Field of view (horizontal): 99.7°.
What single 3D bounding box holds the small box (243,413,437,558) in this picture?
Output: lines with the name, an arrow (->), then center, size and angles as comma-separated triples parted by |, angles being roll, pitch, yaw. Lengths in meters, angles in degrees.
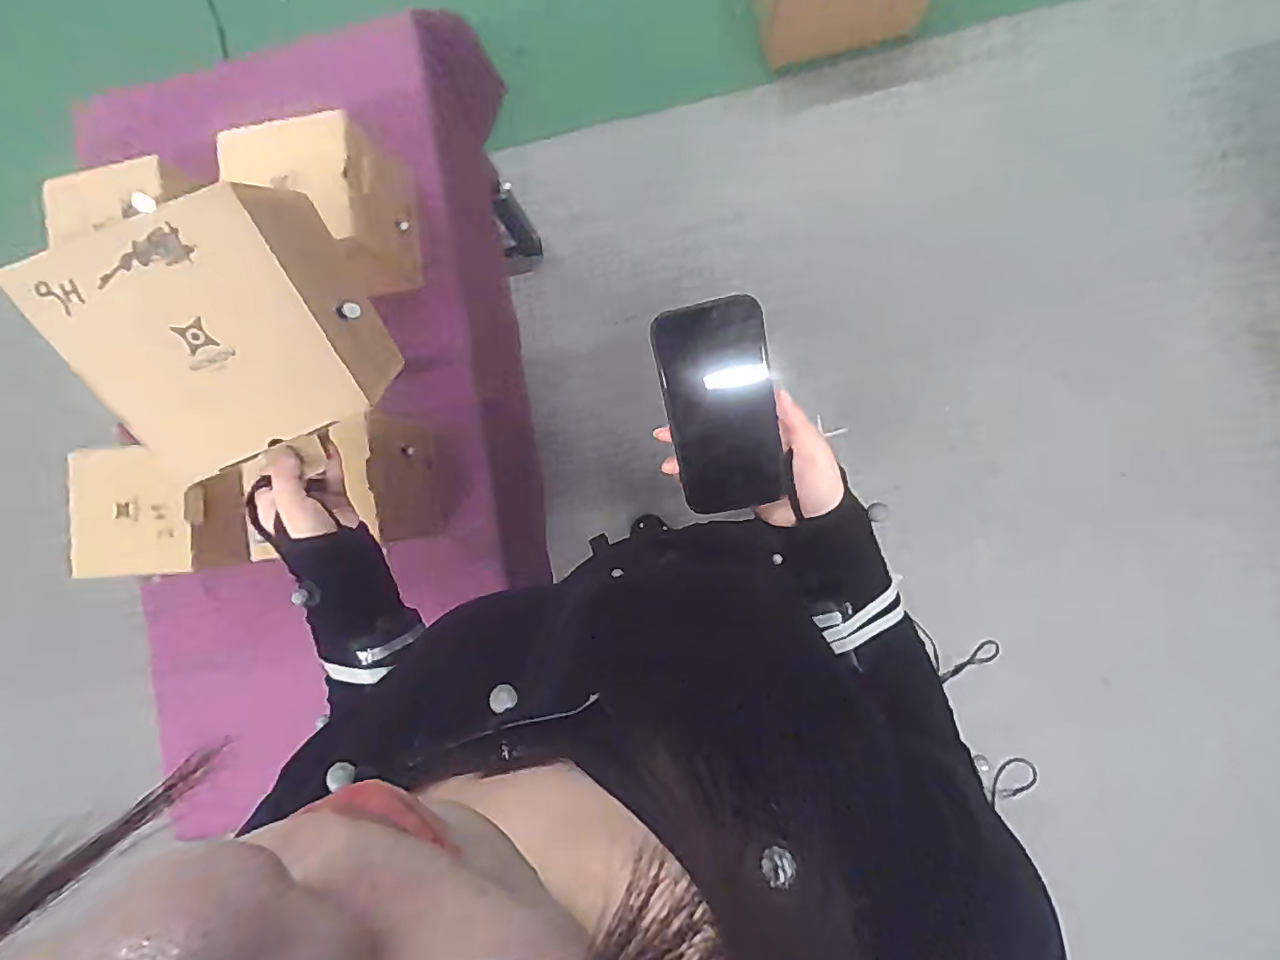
small box -> -0.399, 0.009, 0.747 | 0.179, 0.176, 0.168 | -8, 87, 7

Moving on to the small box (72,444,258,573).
small box -> -0.643, 0.039, 0.772 | 0.179, 0.176, 0.168 | -4, 89, 6

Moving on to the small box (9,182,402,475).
small box -> -0.333, -0.137, 0.470 | 0.168, 0.176, 0.179 | -23, 118, -3

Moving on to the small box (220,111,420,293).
small box -> -0.437, -0.369, 0.759 | 0.179, 0.176, 0.168 | -6, 88, 6
